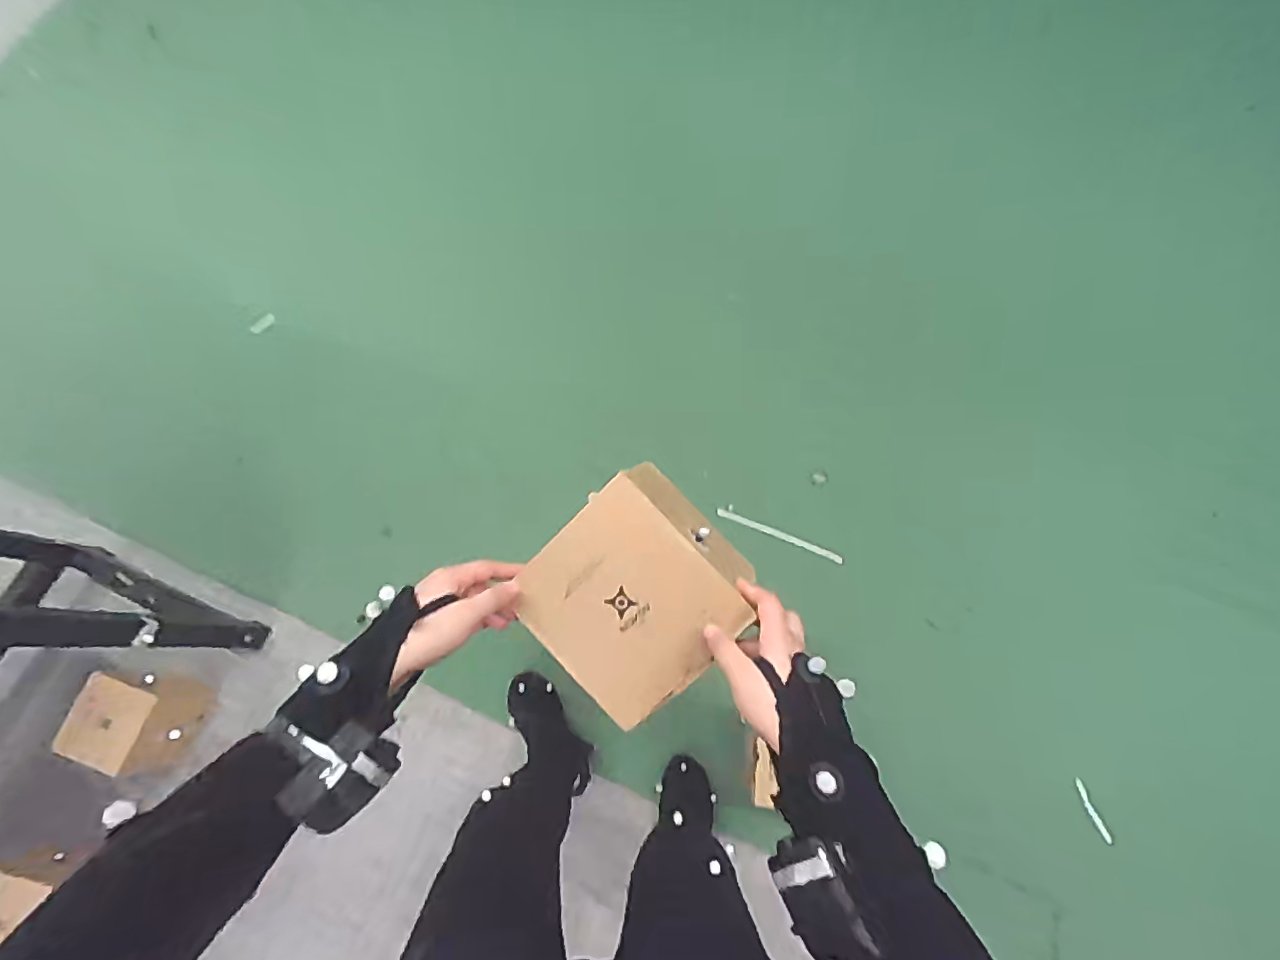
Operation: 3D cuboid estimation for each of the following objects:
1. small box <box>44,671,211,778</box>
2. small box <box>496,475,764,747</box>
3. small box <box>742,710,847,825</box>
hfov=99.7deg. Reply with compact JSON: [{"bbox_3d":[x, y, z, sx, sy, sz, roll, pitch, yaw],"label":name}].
[{"bbox_3d":[-1.124,0.531,1.204,0.179,0.176,0.168,16,74,9],"label":"small box"},{"bbox_3d":[0.001,0.110,0.536,0.168,0.176,0.179,-45,87,10],"label":"small box"},{"bbox_3d":[0.304,0.566,1.089,0.179,0.176,0.168,6,73,5],"label":"small box"}]
